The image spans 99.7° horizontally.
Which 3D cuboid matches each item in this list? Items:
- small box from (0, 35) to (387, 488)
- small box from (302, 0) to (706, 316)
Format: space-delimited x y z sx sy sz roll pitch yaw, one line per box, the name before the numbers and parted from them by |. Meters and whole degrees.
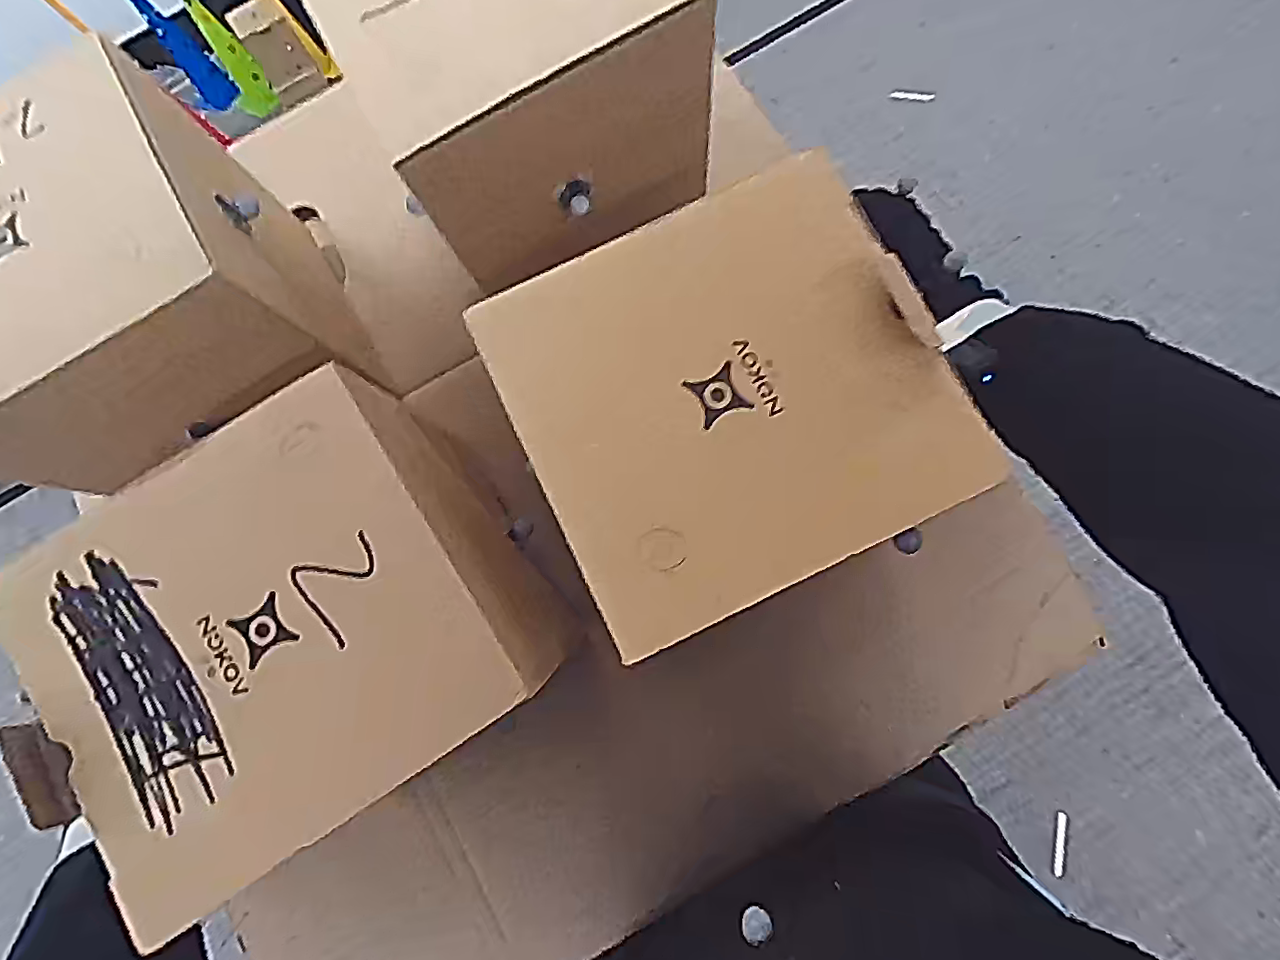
small box | -0.301 -0.108 0.345 0.168 0.176 0.179 -31 78 -2
small box | -0.074 -0.242 0.349 0.179 0.176 0.168 -28 79 0
